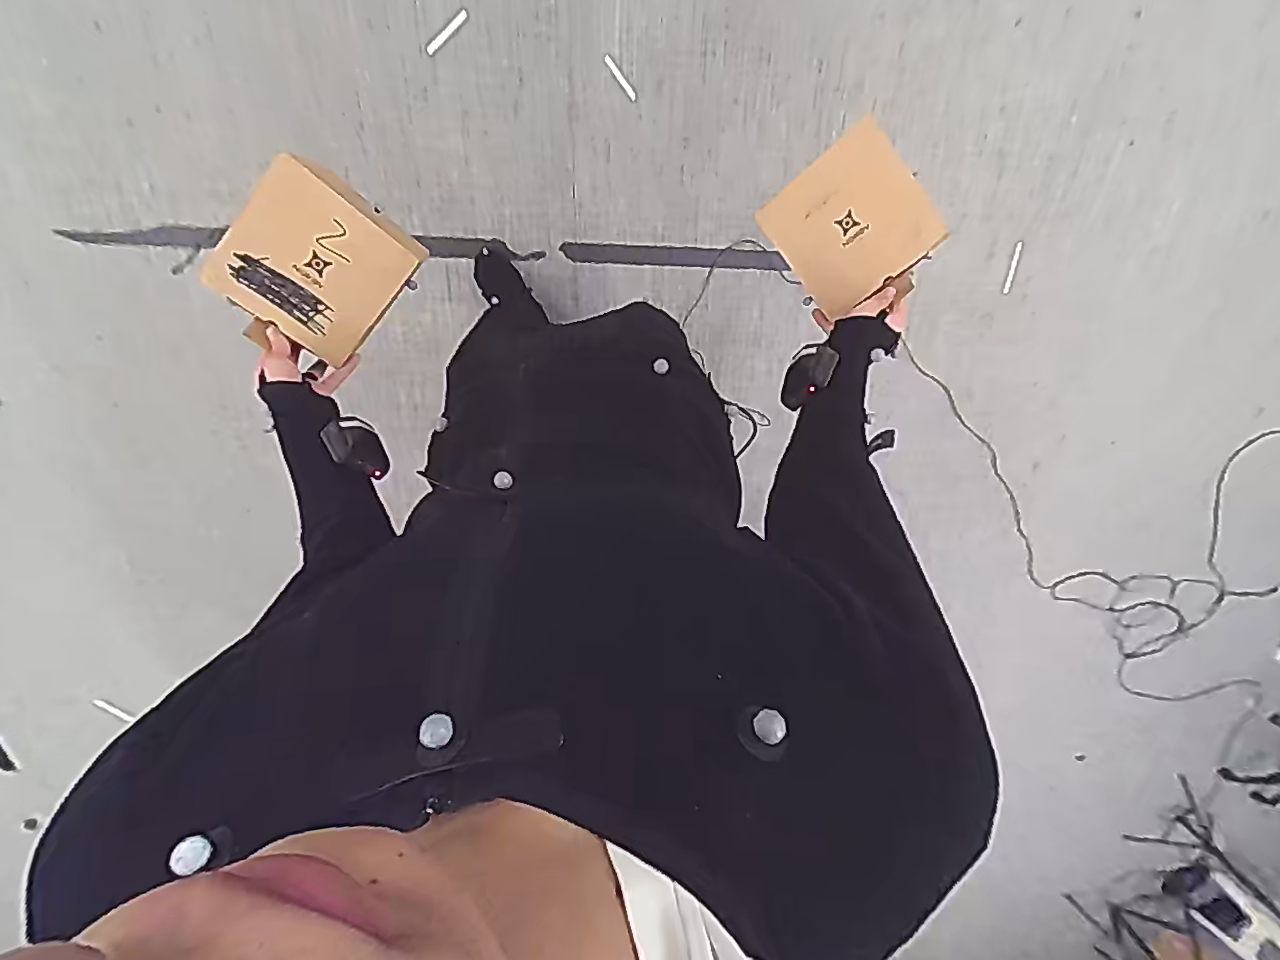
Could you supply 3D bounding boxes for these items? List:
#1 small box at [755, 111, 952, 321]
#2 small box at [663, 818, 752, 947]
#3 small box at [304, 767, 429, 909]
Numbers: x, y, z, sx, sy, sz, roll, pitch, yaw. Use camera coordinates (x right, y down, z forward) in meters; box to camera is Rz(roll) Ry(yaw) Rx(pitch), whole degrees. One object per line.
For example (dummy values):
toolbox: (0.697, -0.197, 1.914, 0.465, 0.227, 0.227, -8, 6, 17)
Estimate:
small box: (0.279, -0.341, 0.725, 0.168, 0.176, 0.179, -35, 97, 25)
small box: (0.147, 0.912, 1.234, 0.168, 0.176, 0.179, -4, 113, -5)
small box: (-0.519, 0.684, 1.050, 0.168, 0.176, 0.179, 1, 115, -8)
